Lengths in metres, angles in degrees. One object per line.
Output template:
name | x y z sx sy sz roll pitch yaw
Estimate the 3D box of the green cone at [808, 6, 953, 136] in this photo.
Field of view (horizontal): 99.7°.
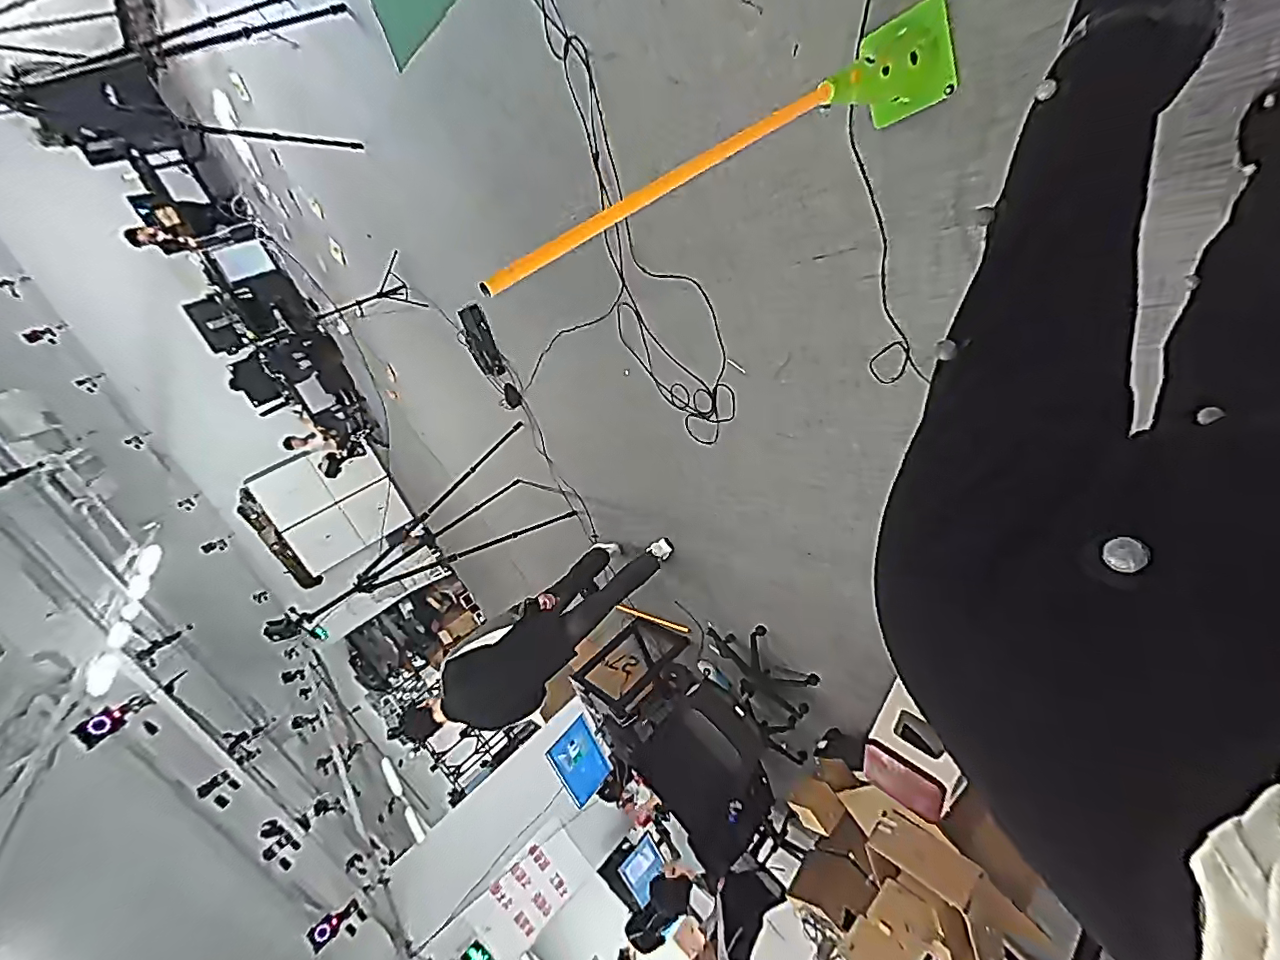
green cone | 0.497 -0.867 1.193 0.202 0.368 0.200 8 126 55
